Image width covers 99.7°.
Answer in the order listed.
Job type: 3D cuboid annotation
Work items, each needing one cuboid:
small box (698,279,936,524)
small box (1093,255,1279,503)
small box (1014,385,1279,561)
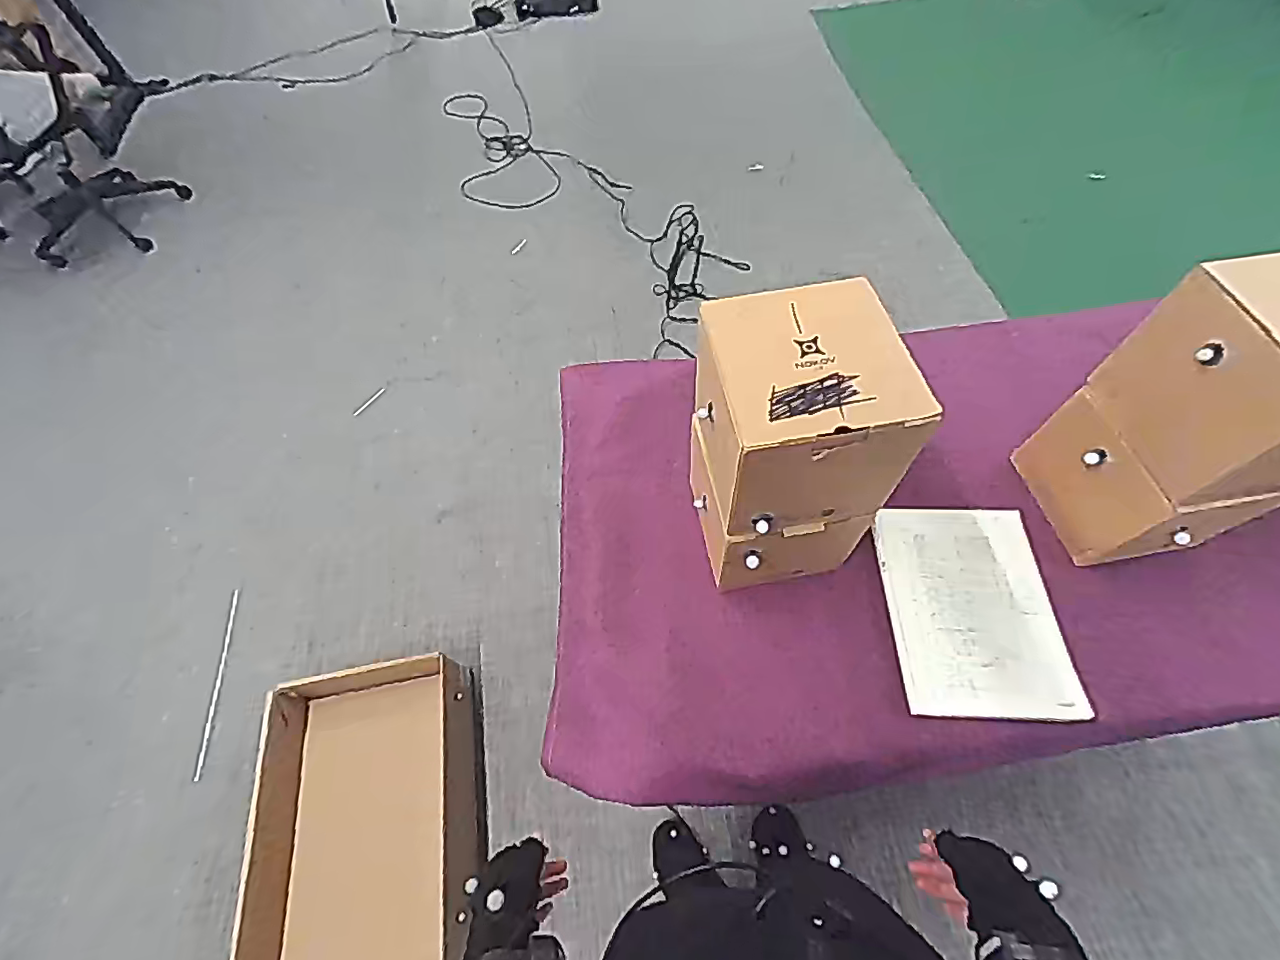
[{"bbox_3d":[0.155,-0.068,0.545,0.168,0.176,0.179,-9,58,-1],"label":"small box"},{"bbox_3d":[0.614,-0.098,0.533,0.168,0.176,0.179,-7,60,0],"label":"small box"},{"bbox_3d":[0.622,-0.011,0.674,0.168,0.176,0.179,-10,60,-1],"label":"small box"}]
